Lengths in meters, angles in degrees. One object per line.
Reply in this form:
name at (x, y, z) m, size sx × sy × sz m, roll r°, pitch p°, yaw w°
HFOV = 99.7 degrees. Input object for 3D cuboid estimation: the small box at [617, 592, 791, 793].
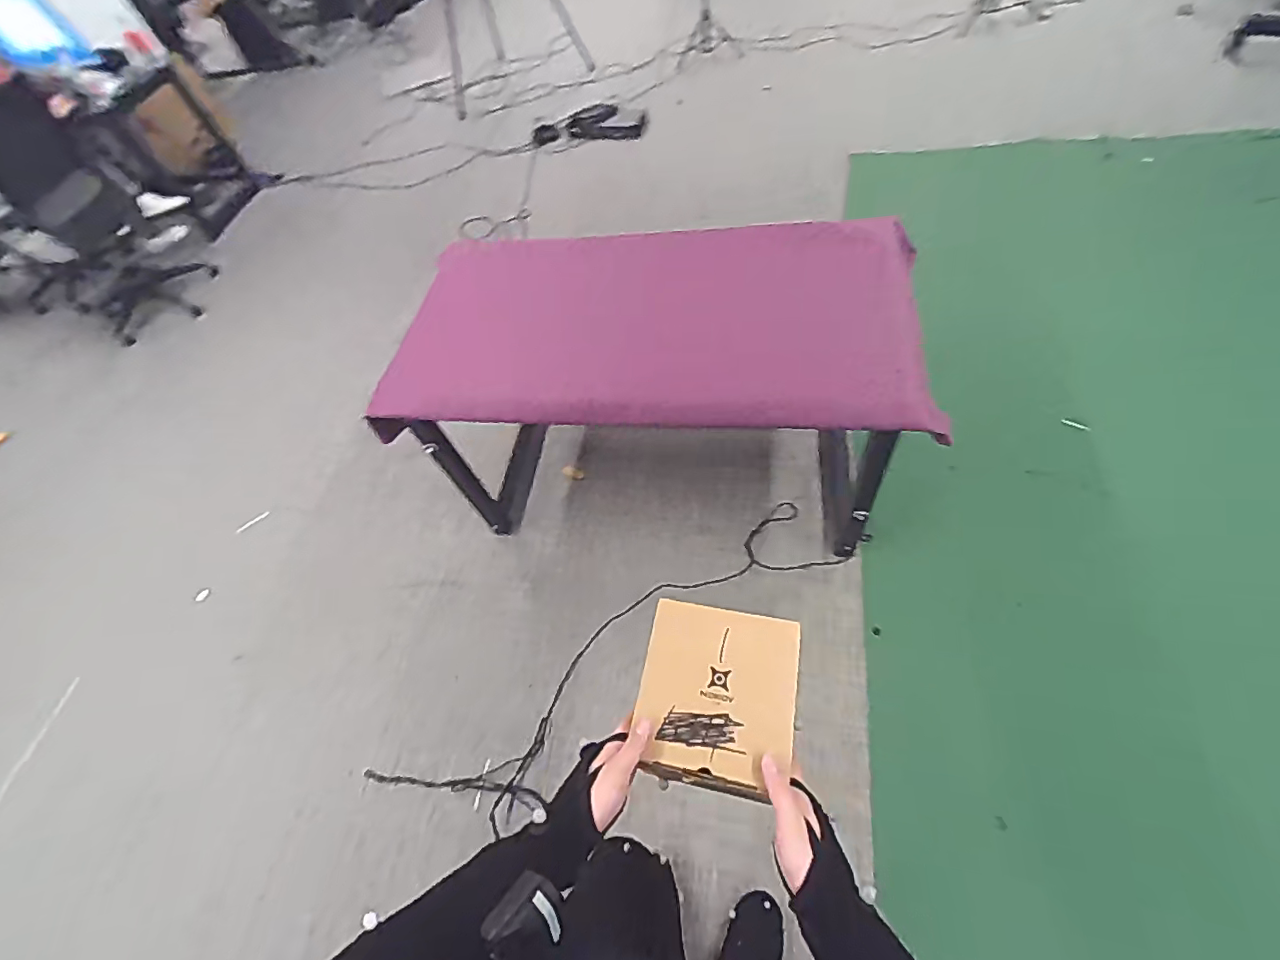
small box at (0.082, 0.260, 0.650) m, size 0.168 × 0.176 × 0.179 m, roll 8°, pitch 57°, yaw 12°
